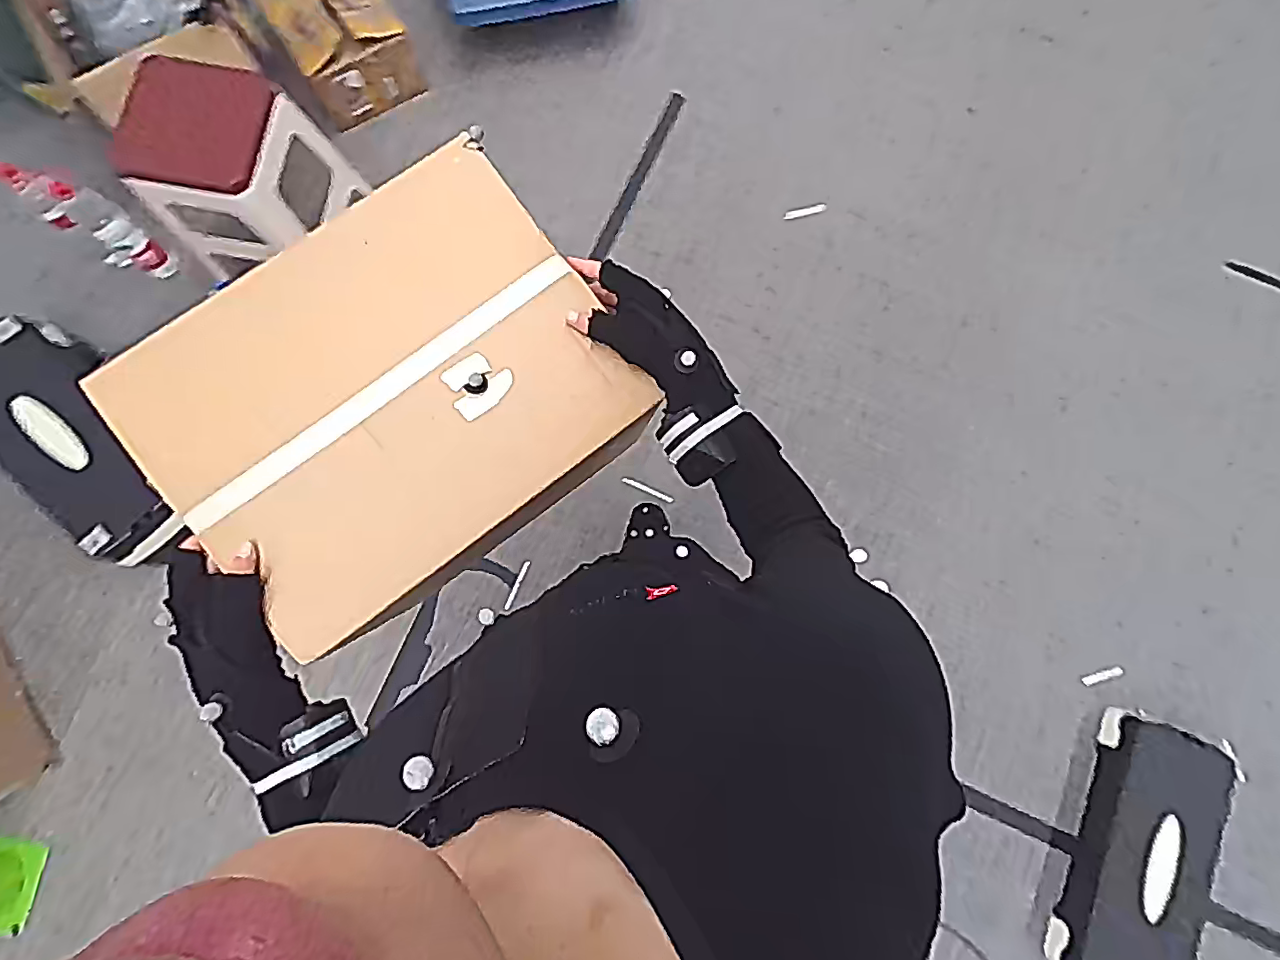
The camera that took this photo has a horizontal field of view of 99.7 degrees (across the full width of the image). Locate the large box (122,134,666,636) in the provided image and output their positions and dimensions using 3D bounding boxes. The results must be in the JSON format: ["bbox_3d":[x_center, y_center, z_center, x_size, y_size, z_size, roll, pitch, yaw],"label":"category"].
[{"bbox_3d":[-0.232,-0.086,0.648,0.408,0.320,0.320,-37,91,-7],"label":"large box"}]
